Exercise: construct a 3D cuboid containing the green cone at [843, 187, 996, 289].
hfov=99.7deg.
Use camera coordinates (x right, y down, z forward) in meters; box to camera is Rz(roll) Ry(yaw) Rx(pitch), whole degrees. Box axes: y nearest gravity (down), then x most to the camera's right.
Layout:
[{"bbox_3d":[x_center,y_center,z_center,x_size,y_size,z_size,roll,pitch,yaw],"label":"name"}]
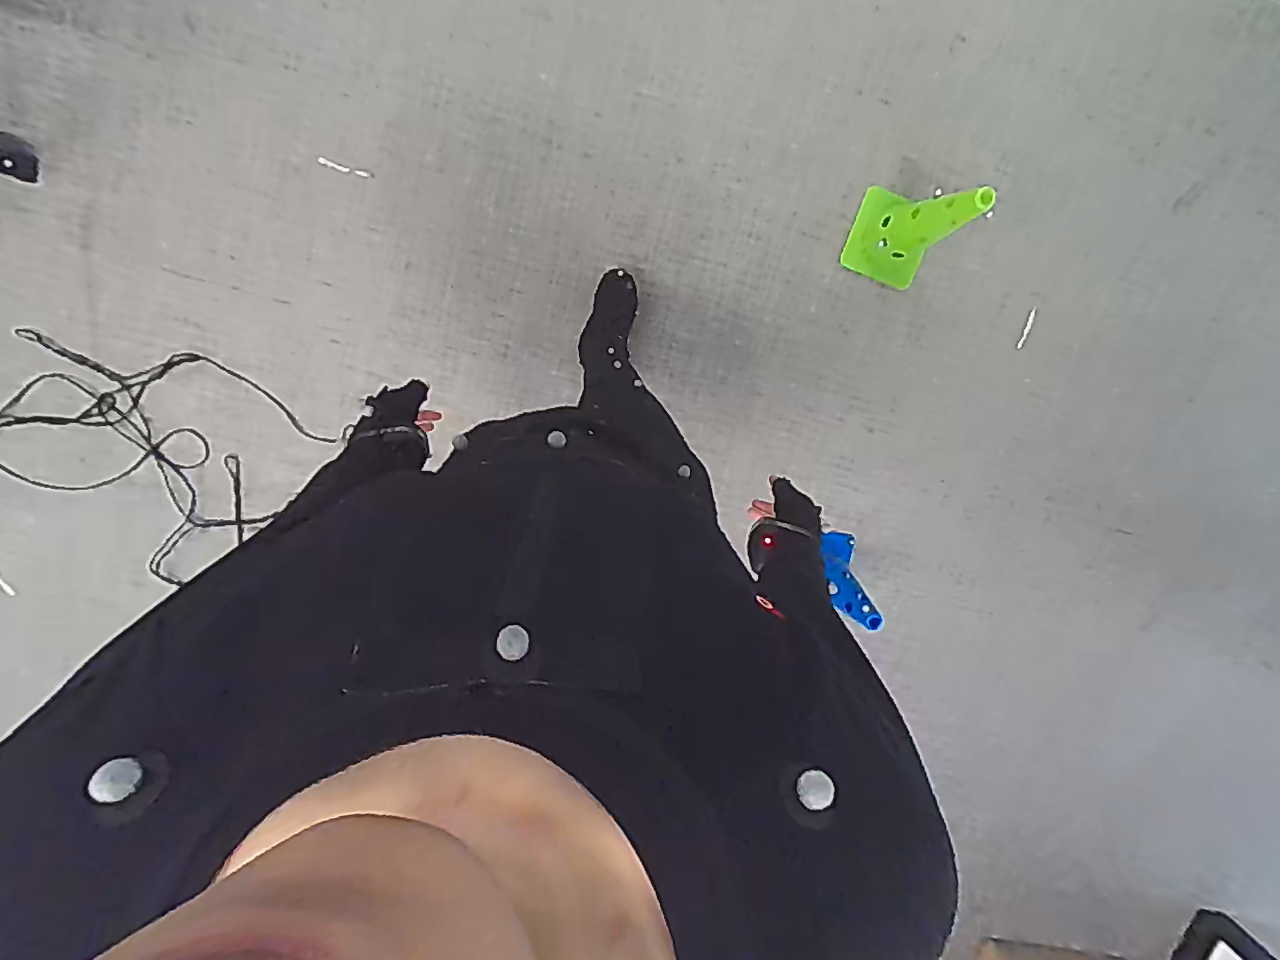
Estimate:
[{"bbox_3d":[0.639,-0.569,1.189,0.200,0.368,0.202,17,101,-7],"label":"green cone"}]
